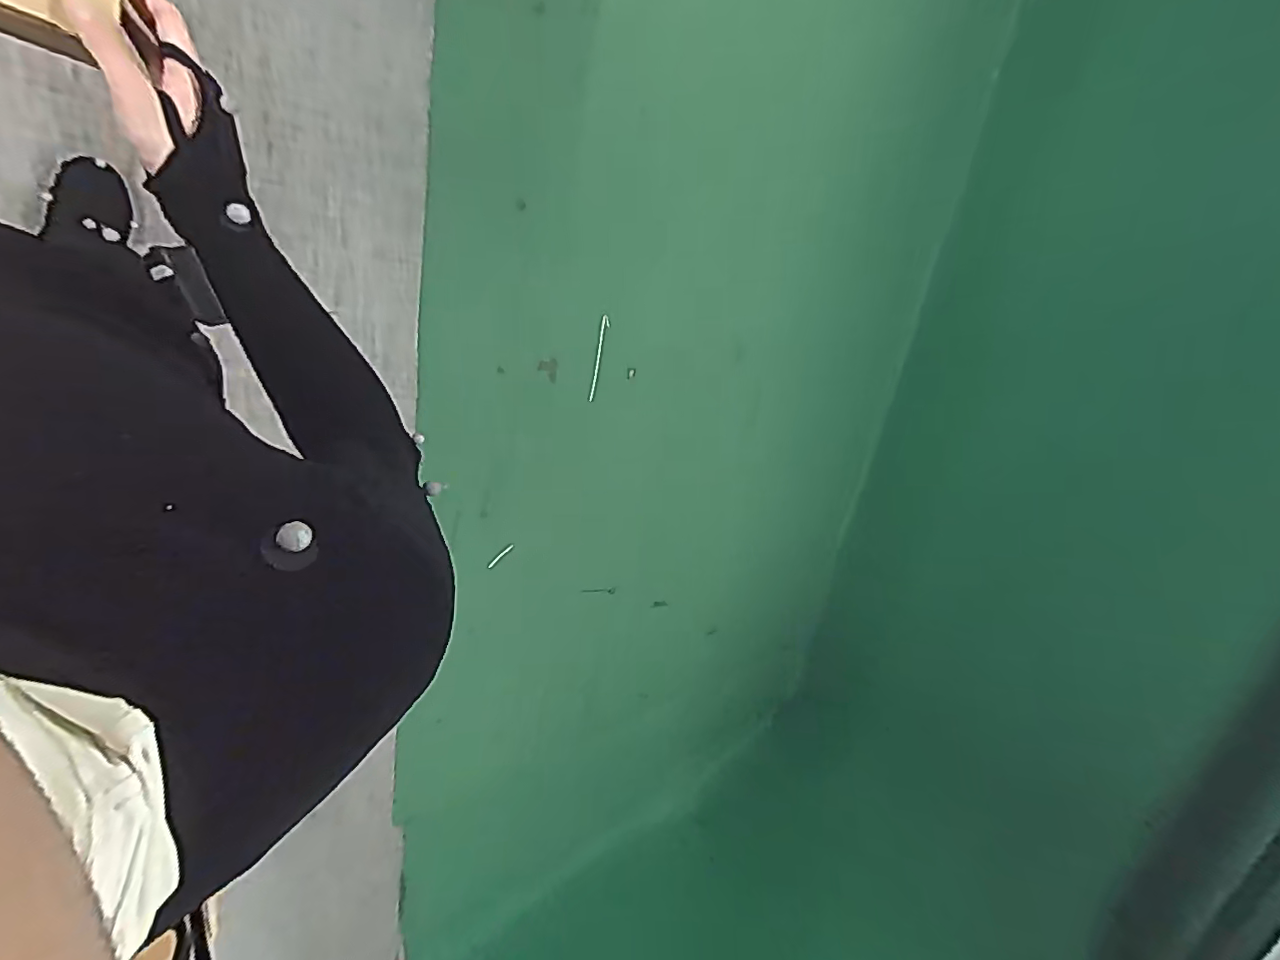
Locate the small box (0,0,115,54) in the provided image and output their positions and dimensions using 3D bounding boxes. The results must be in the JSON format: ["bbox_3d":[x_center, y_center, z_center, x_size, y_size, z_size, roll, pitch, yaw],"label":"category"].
[{"bbox_3d":[-0.457,-0.425,0.353,0.168,0.176,0.179,1,113,-45],"label":"small box"}]
